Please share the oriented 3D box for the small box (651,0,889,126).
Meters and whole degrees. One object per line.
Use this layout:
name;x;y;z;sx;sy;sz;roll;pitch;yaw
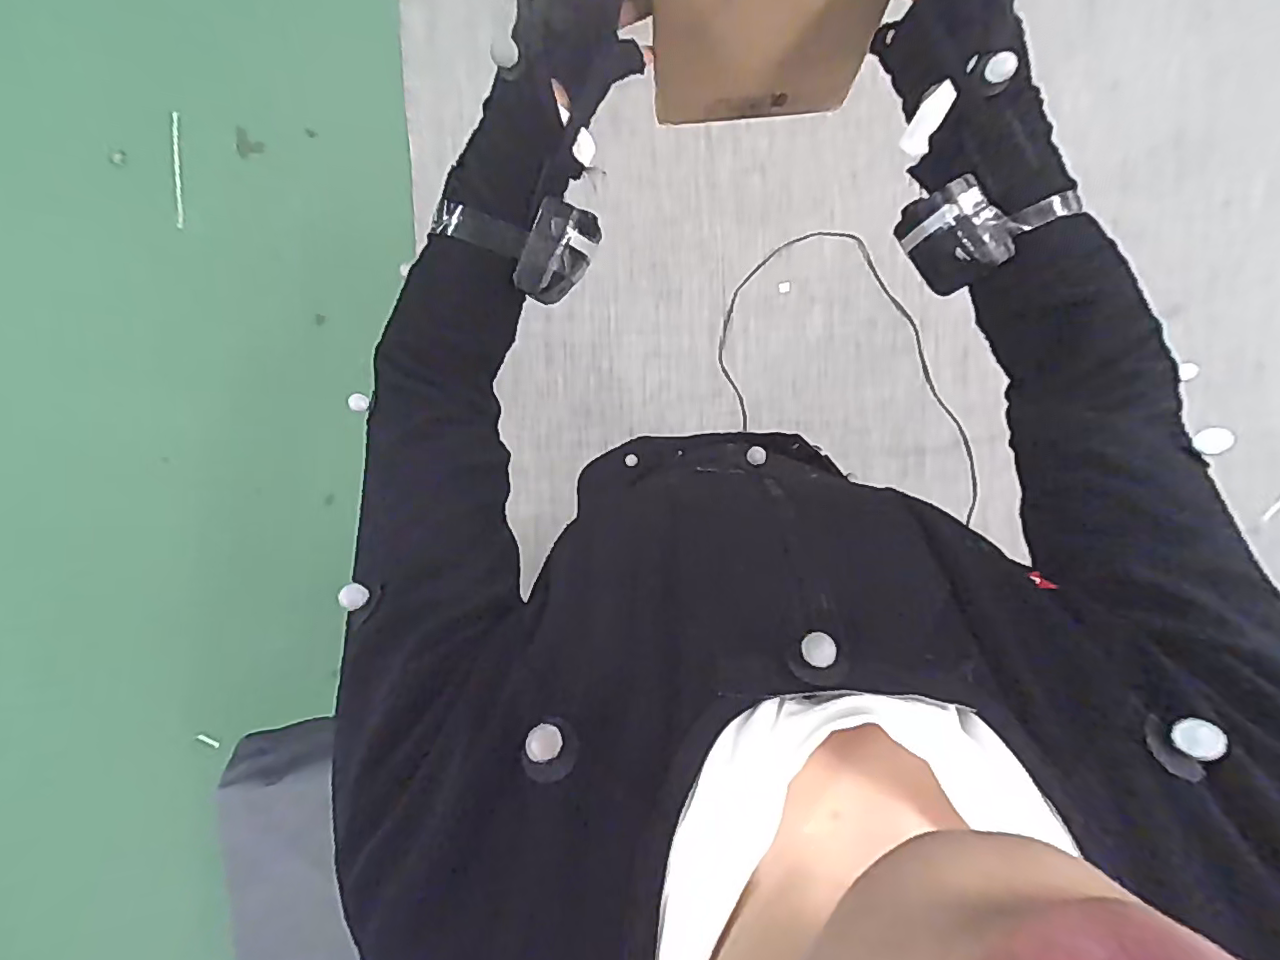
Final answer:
small box;0.090;-0.413;0.410;0.168;0.176;0.179;-3;86;3
